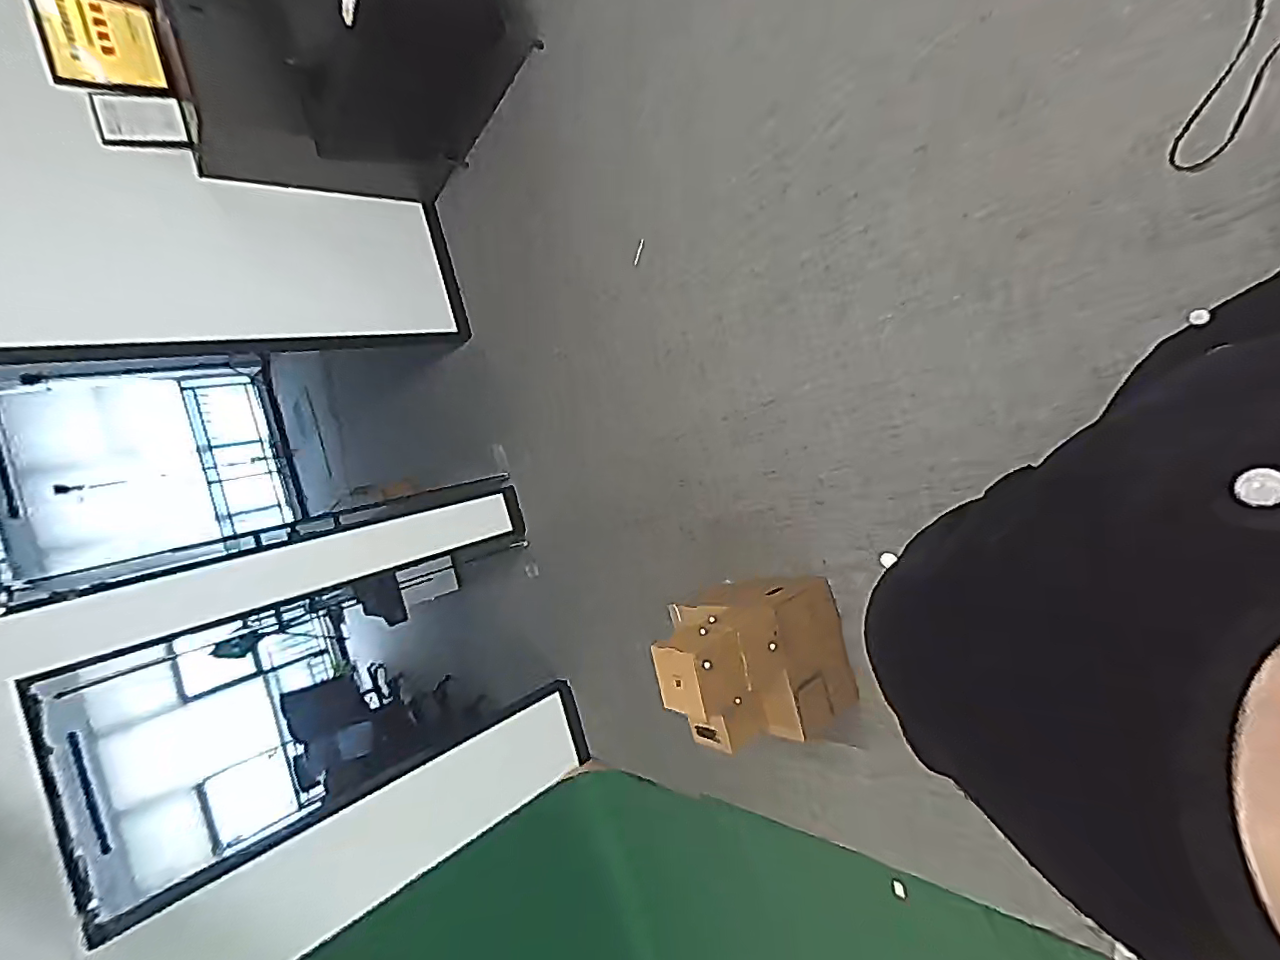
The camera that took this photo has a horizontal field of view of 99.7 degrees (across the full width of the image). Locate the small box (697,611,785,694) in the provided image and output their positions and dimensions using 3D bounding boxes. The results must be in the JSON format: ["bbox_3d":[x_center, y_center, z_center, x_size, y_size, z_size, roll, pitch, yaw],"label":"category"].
[{"bbox_3d":[0.282,0.482,1.543,0.179,0.176,0.168,-12,92,50],"label":"small box"}]

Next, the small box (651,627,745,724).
[{"bbox_3d":[0.158,0.511,1.441,0.168,0.176,0.179,-11,92,51],"label":"small box"}]
